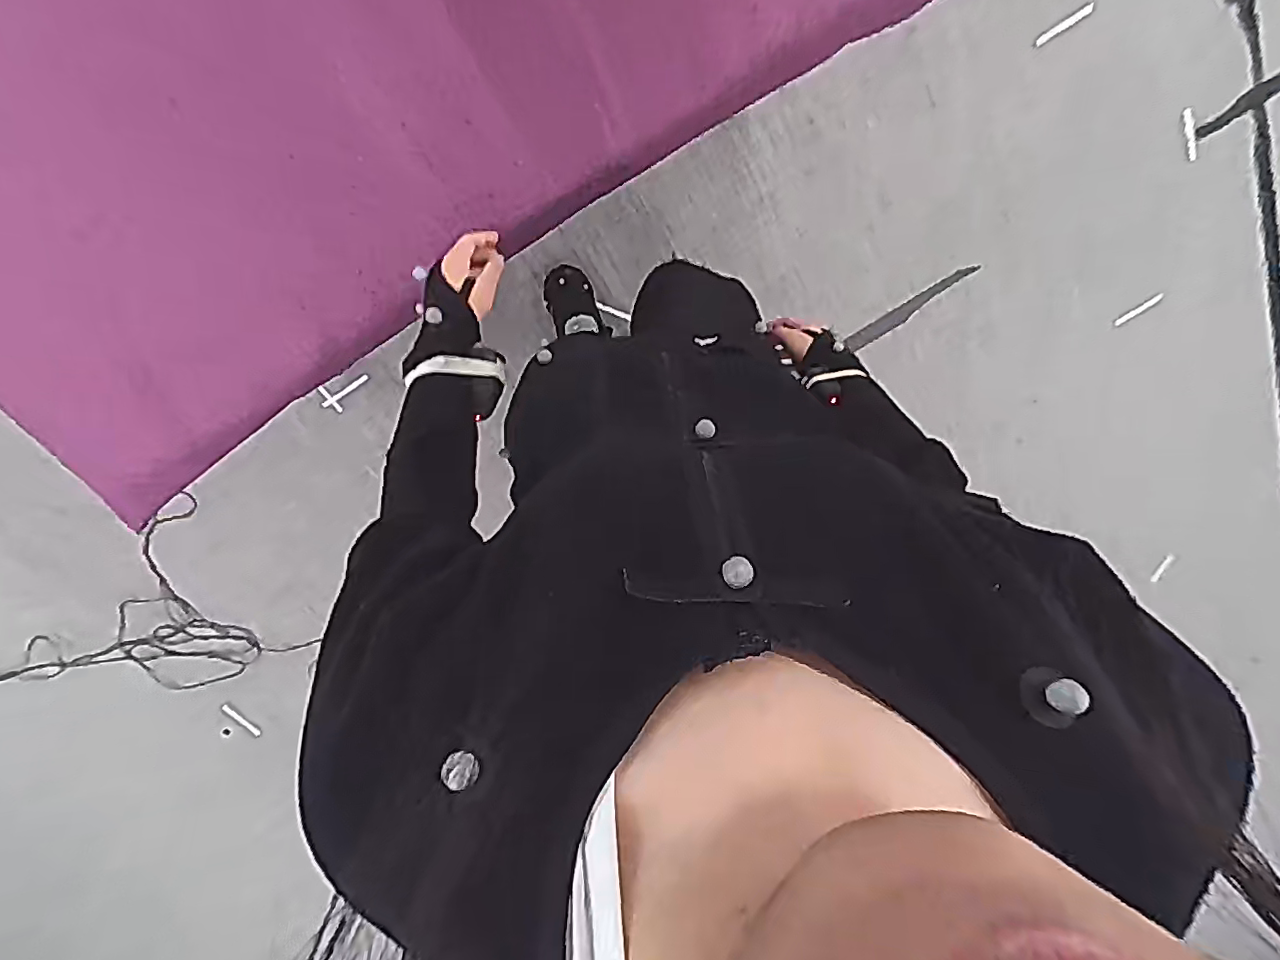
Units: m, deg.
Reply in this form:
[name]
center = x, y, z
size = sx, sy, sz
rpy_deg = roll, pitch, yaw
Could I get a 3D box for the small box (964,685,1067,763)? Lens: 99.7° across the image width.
[small box]
center = 1.196, 0.782, 1.730
size = 0.179, 0.176, 0.168
rpy_deg = 13, 107, -13
